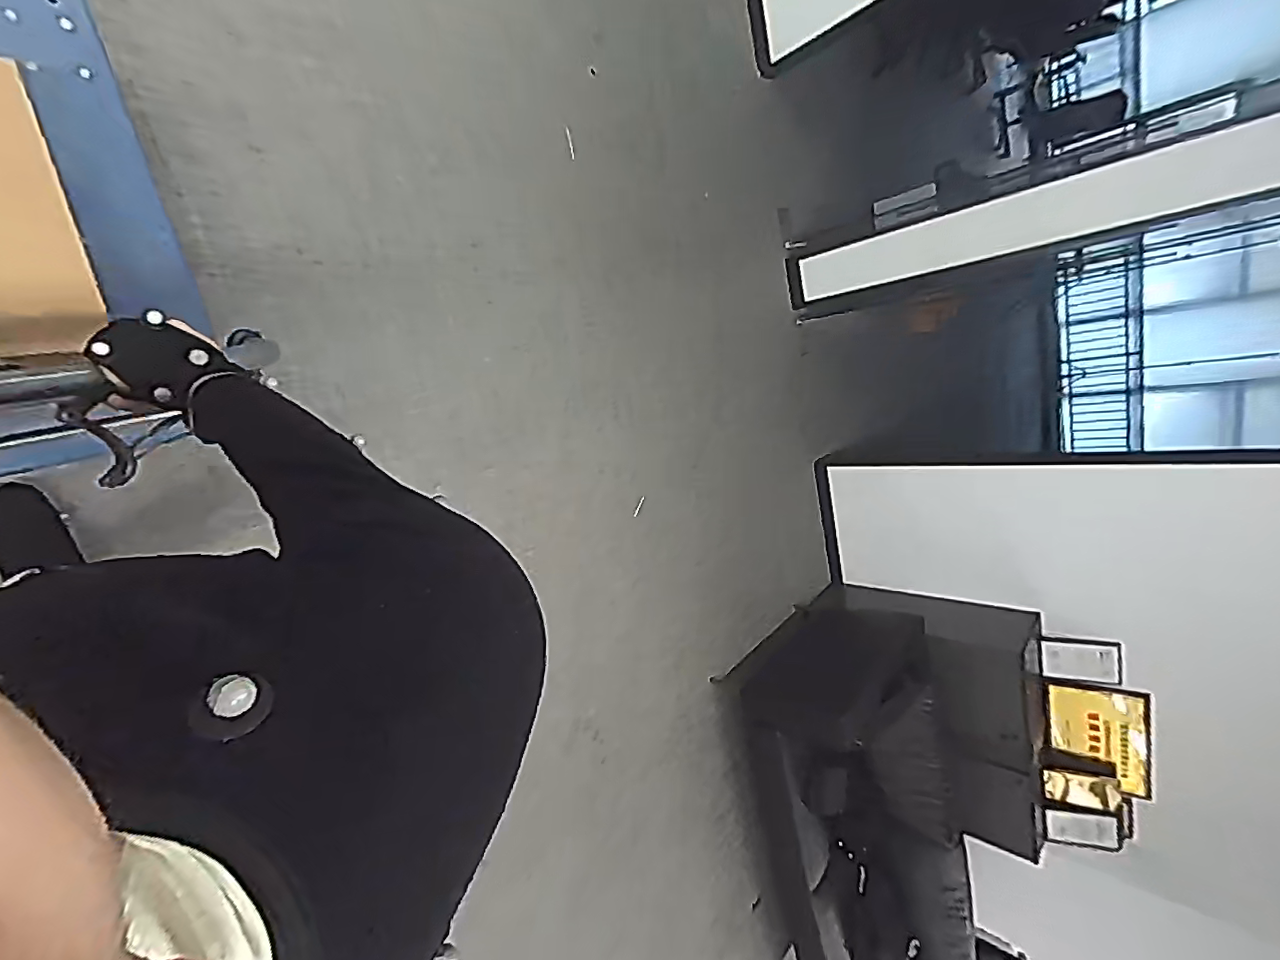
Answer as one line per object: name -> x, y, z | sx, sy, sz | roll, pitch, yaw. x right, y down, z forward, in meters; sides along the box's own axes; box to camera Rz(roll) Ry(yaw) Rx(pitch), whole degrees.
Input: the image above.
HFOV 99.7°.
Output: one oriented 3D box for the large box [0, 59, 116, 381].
large box -> -1.062, -0.362, 0.806 | 0.320, 0.320, 0.408 | -21, 105, -42
